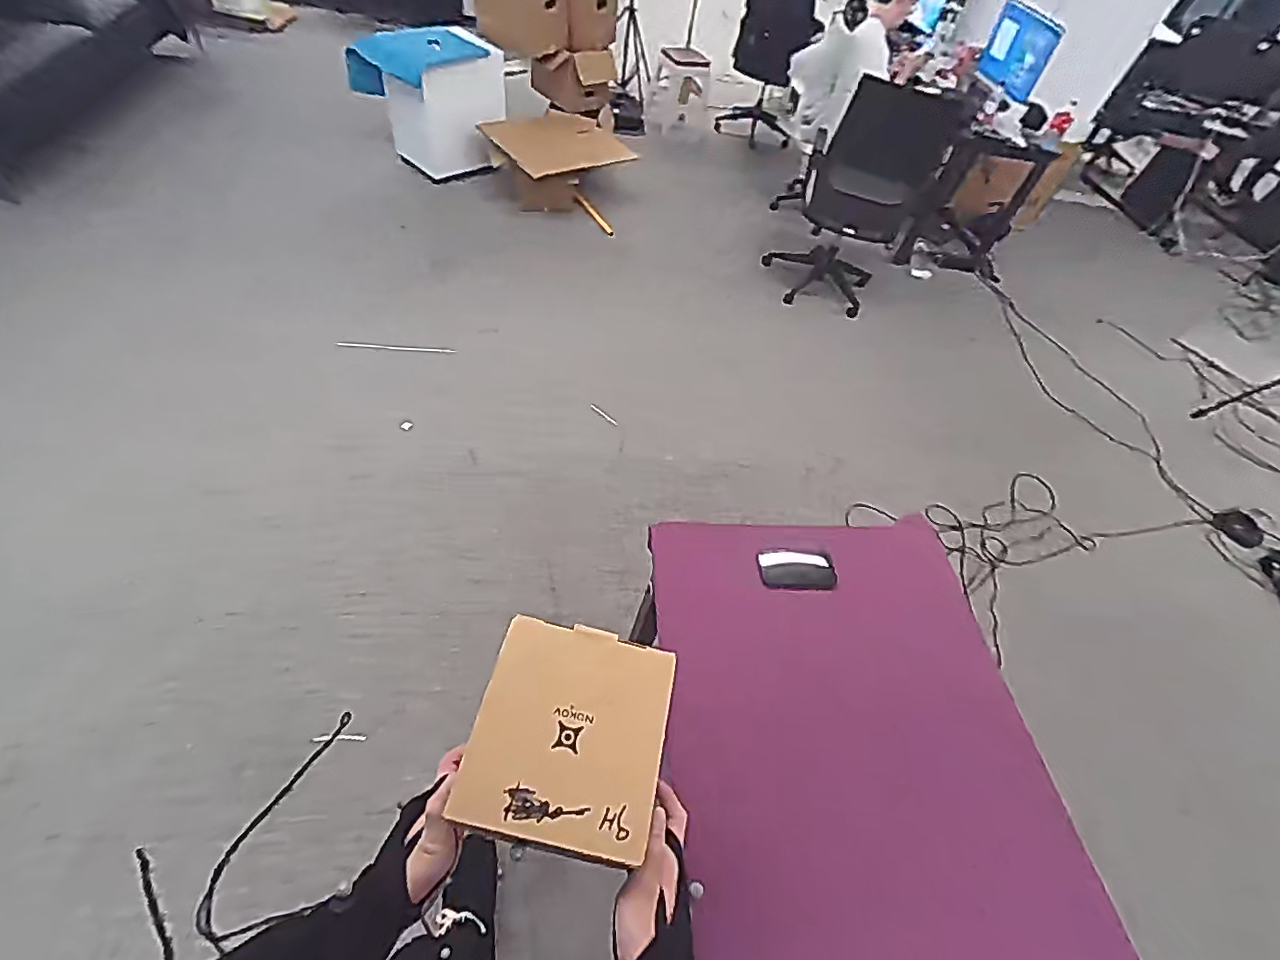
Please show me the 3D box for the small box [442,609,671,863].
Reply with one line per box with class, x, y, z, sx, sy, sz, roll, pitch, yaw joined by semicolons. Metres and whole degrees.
small box;-0.075;0.258;0.540;0.168;0.176;0.179;13;53;1
